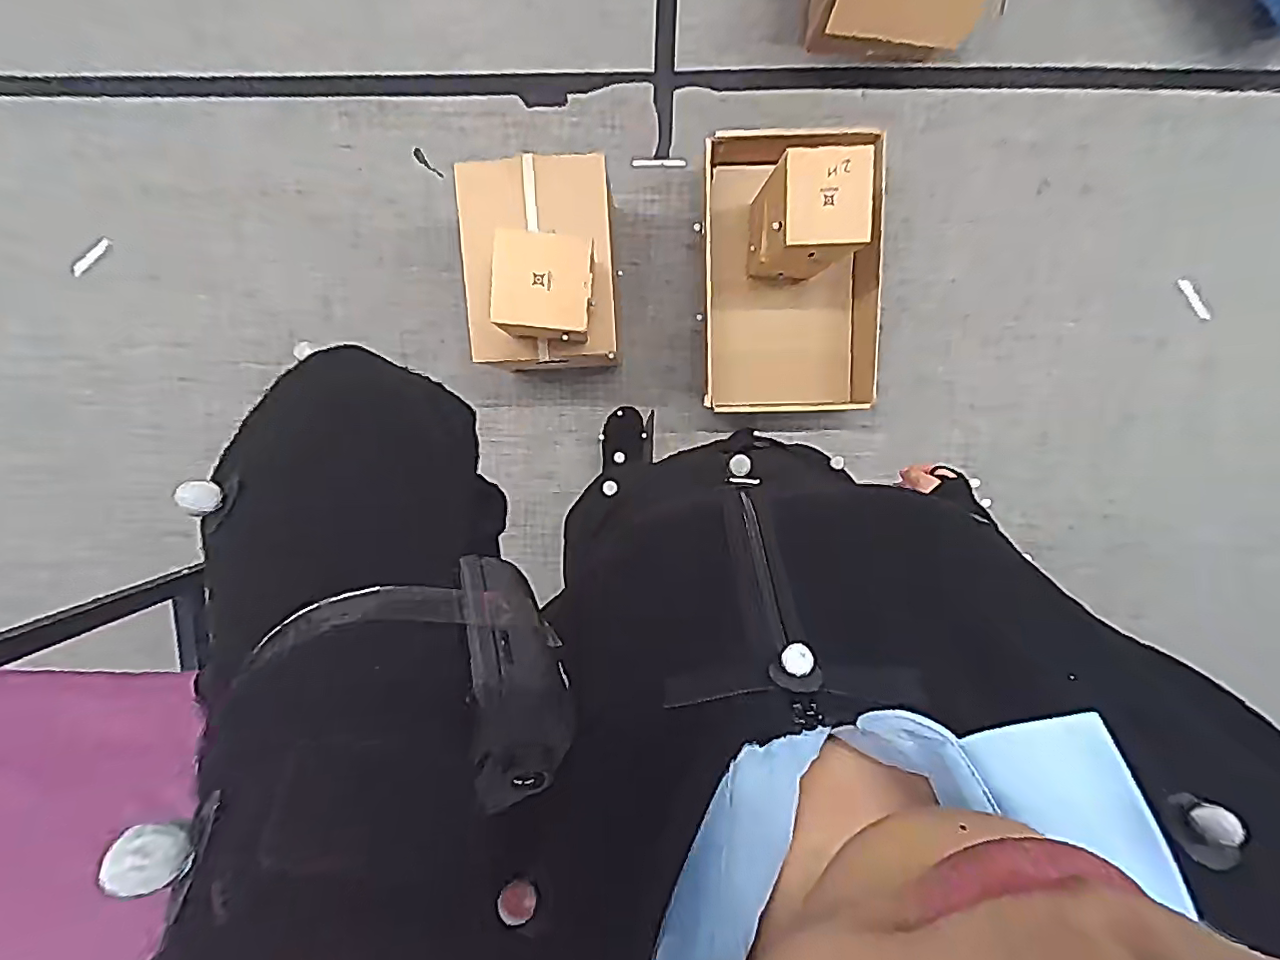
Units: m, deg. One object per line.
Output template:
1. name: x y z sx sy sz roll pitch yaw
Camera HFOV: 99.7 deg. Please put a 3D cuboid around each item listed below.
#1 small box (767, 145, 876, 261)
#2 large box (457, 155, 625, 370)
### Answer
1. small box: 0.361 -0.553 1.104 0.168 0.176 0.179 -2 100 0
2. large box: -0.206 -0.476 1.270 0.320 0.320 0.408 -3 99 2
